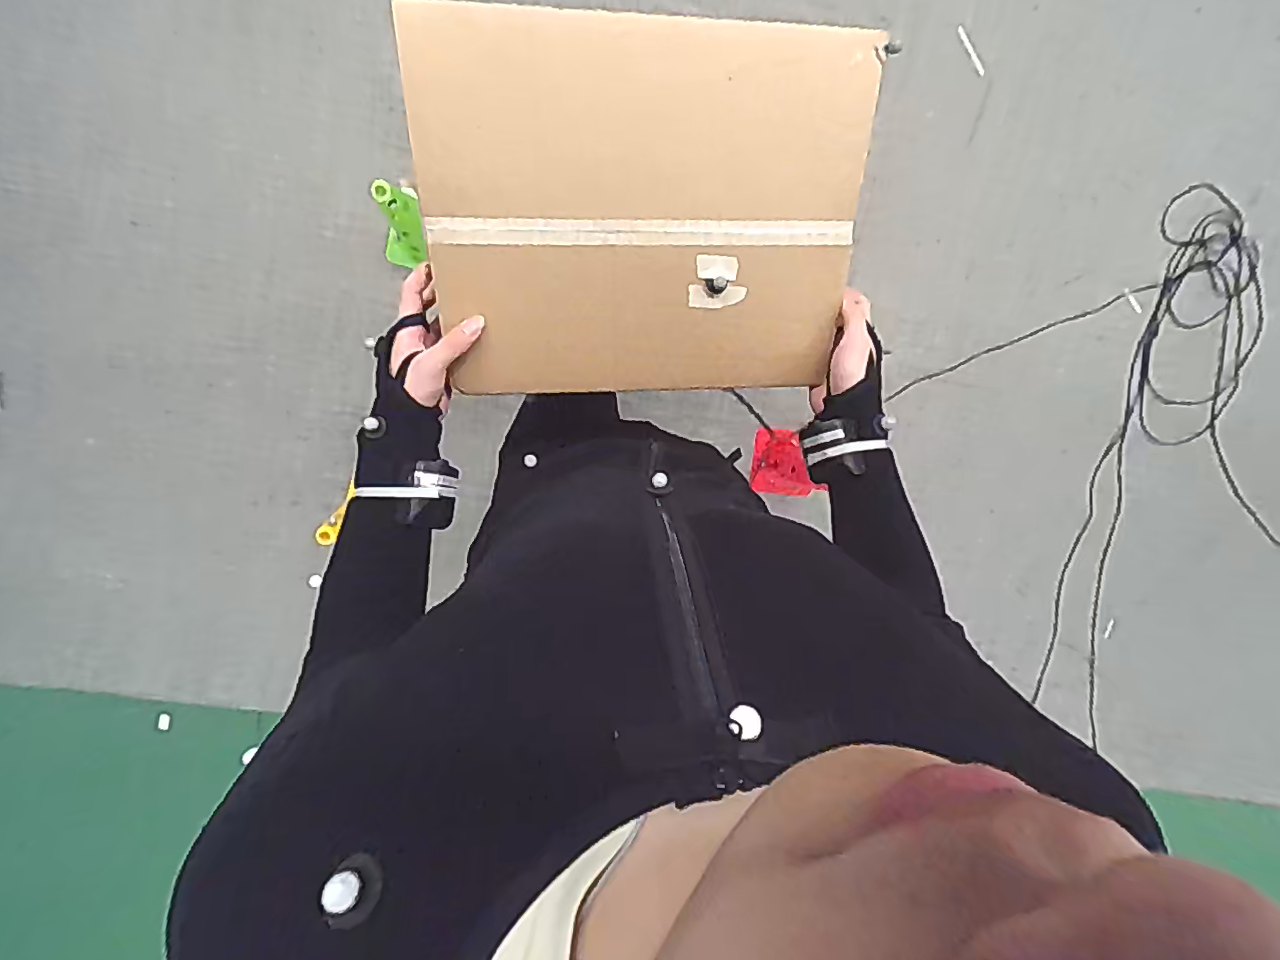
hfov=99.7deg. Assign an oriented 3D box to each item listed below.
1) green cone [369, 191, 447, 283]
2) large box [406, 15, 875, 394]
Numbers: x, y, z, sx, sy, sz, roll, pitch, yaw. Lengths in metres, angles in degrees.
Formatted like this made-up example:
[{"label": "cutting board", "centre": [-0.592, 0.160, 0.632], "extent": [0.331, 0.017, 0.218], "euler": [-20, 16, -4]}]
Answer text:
[{"label": "green cone", "centre": [-0.555, -0.614, 1.285], "extent": [0.200, 0.368, 0.202], "euler": [14, 100, -7]}, {"label": "large box", "centre": [-0.012, -0.307, 0.646], "extent": [0.408, 0.320, 0.320], "euler": [-4, 119, -8]}]
